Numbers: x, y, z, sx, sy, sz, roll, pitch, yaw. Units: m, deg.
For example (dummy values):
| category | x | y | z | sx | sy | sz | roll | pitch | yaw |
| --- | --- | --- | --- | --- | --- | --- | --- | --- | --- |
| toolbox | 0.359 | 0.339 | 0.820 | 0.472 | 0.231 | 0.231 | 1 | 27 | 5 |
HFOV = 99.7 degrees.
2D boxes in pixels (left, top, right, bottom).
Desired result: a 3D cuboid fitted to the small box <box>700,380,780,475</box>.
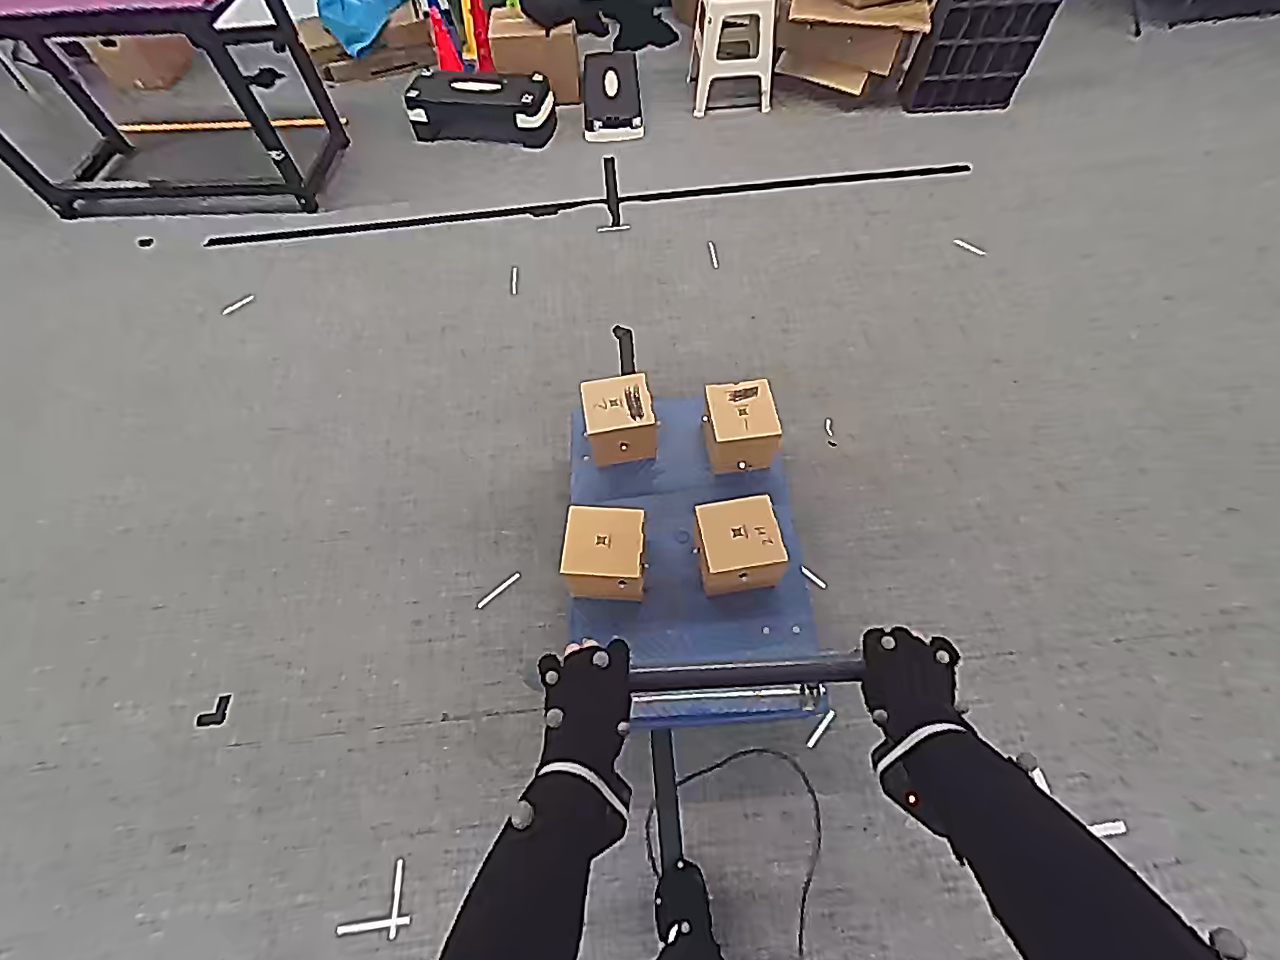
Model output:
| category | x | y | z | sx | sy | sz | roll | pitch | yaw |
| --- | --- | --- | --- | --- | --- | --- | --- | --- | --- |
| small box | 0.254 | -0.135 | 1.421 | 0.168 | 0.176 | 0.179 | -7 | 62 | -1 |

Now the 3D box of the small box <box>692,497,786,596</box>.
| category | x | y | z | sx | sy | sz | roll | pitch | yaw |
| --- | --- | --- | --- | --- | --- | --- | --- | --- | --- |
| small box | 0.221 | 0.159 | 1.260 | 0.179 | 0.176 | 0.168 | -9 | 61 | -2 |

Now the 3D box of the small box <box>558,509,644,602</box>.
| category | x | y | z | sx | sy | sz | roll | pitch | yaw |
| --- | --- | --- | --- | --- | --- | --- | --- | --- | --- |
| small box | -0.083 | 0.180 | 1.261 | 0.179 | 0.176 | 0.168 | 3 | 60 | 2 |
